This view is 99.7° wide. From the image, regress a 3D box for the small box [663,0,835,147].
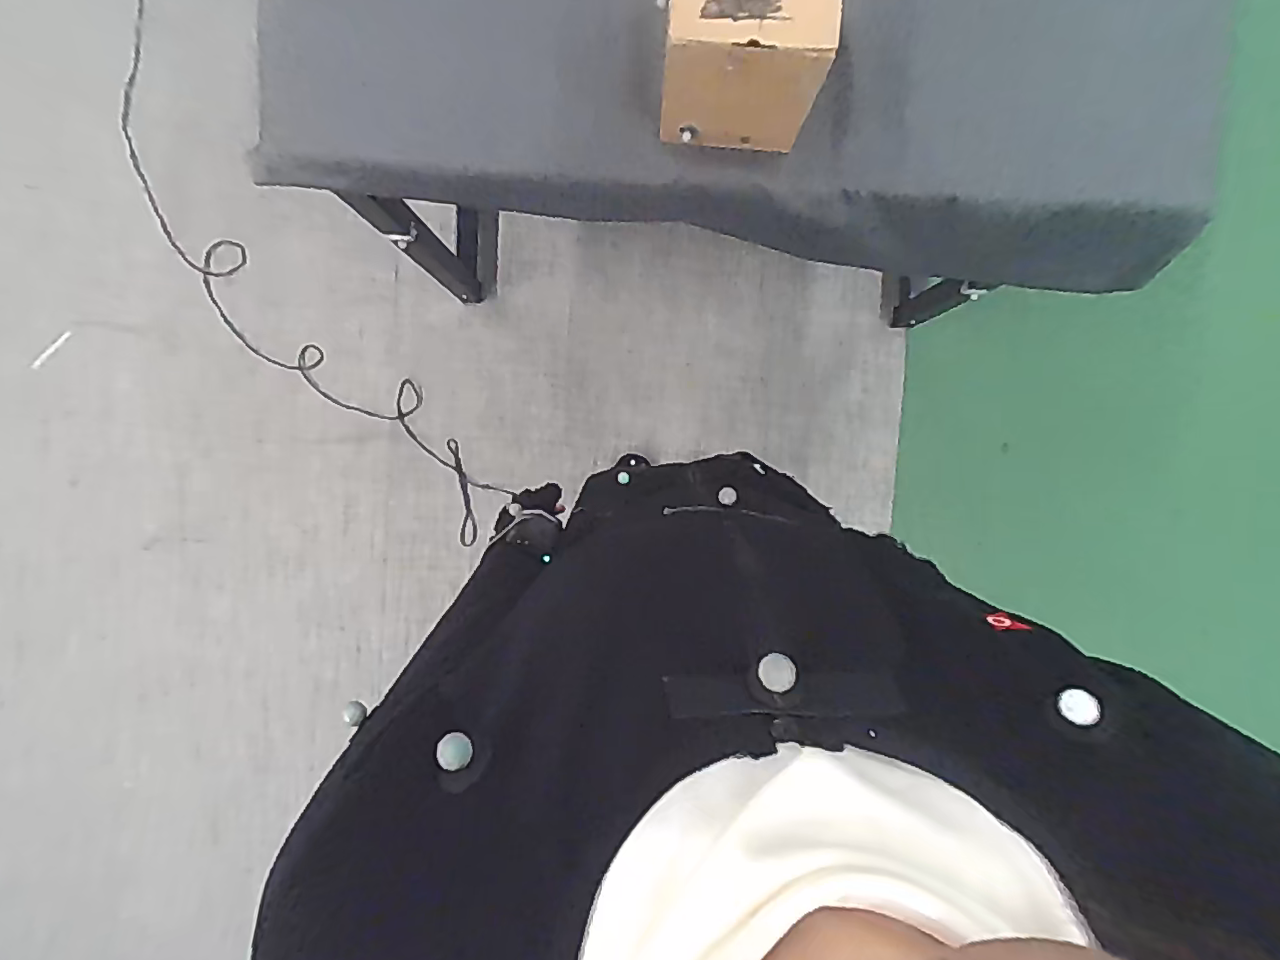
[{"bbox_3d":[0.116,-0.515,0.615,0.168,0.176,0.179,5,91,-1],"label":"small box"}]
